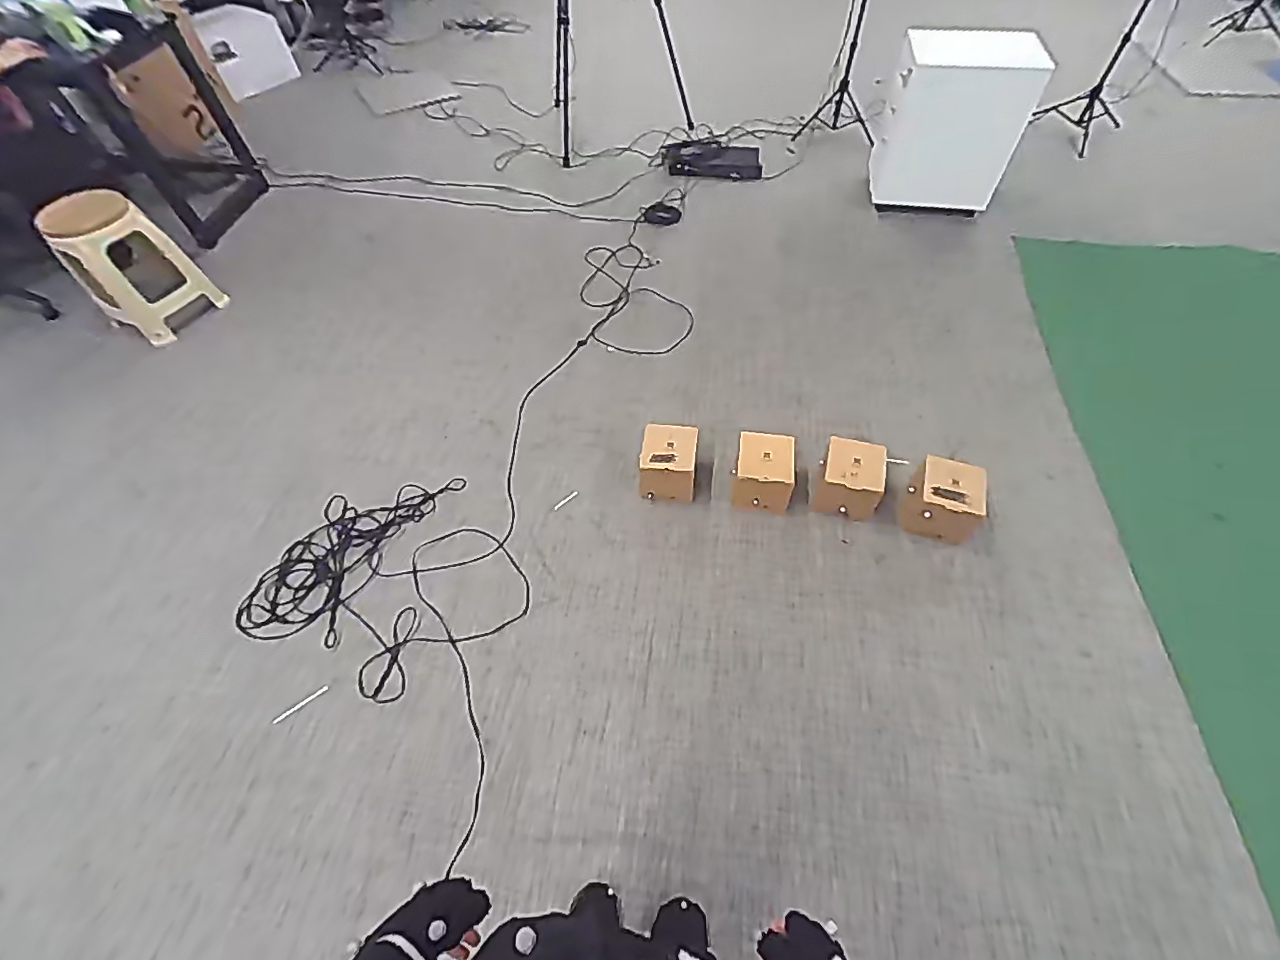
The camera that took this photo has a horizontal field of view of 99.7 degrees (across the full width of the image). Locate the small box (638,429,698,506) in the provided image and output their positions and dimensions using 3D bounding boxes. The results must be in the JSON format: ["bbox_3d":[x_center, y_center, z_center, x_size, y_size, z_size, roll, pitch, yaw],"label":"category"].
[{"bbox_3d":[0.090,-0.036,1.705,0.168,0.176,0.179,6,54,6],"label":"small box"}]

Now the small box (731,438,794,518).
[{"bbox_3d":[0.377,-0.005,1.674,0.168,0.176,0.179,7,56,7],"label":"small box"}]

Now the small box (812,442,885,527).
[{"bbox_3d":[0.632,0.016,1.647,0.168,0.176,0.179,13,57,12],"label":"small box"}]
